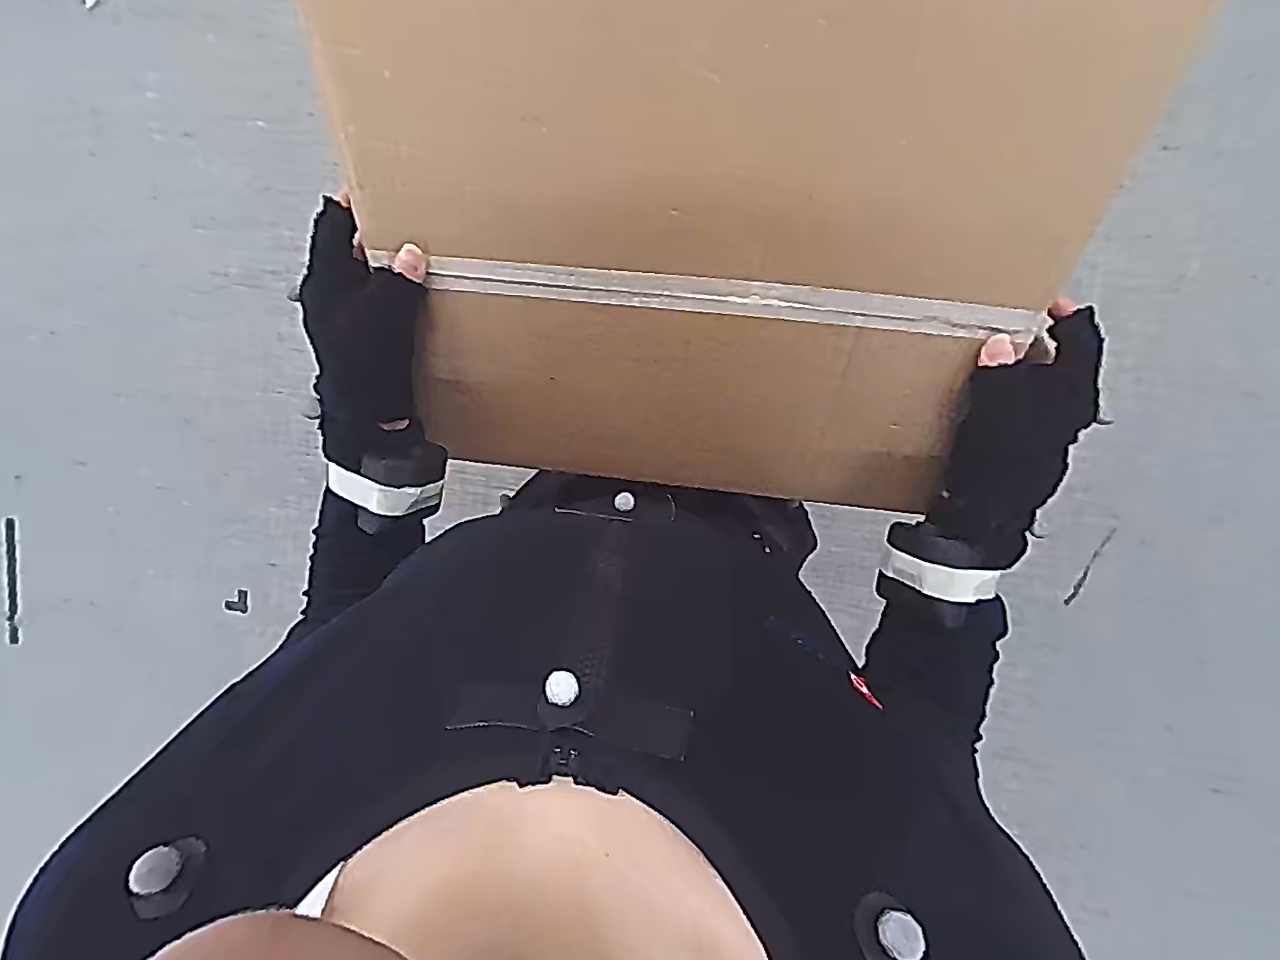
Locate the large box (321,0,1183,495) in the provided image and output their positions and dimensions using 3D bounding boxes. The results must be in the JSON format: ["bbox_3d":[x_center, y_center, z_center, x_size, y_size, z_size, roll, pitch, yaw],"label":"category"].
[{"bbox_3d":[0.049,-0.219,0.450,0.408,0.320,0.320,7,132,3],"label":"large box"}]
